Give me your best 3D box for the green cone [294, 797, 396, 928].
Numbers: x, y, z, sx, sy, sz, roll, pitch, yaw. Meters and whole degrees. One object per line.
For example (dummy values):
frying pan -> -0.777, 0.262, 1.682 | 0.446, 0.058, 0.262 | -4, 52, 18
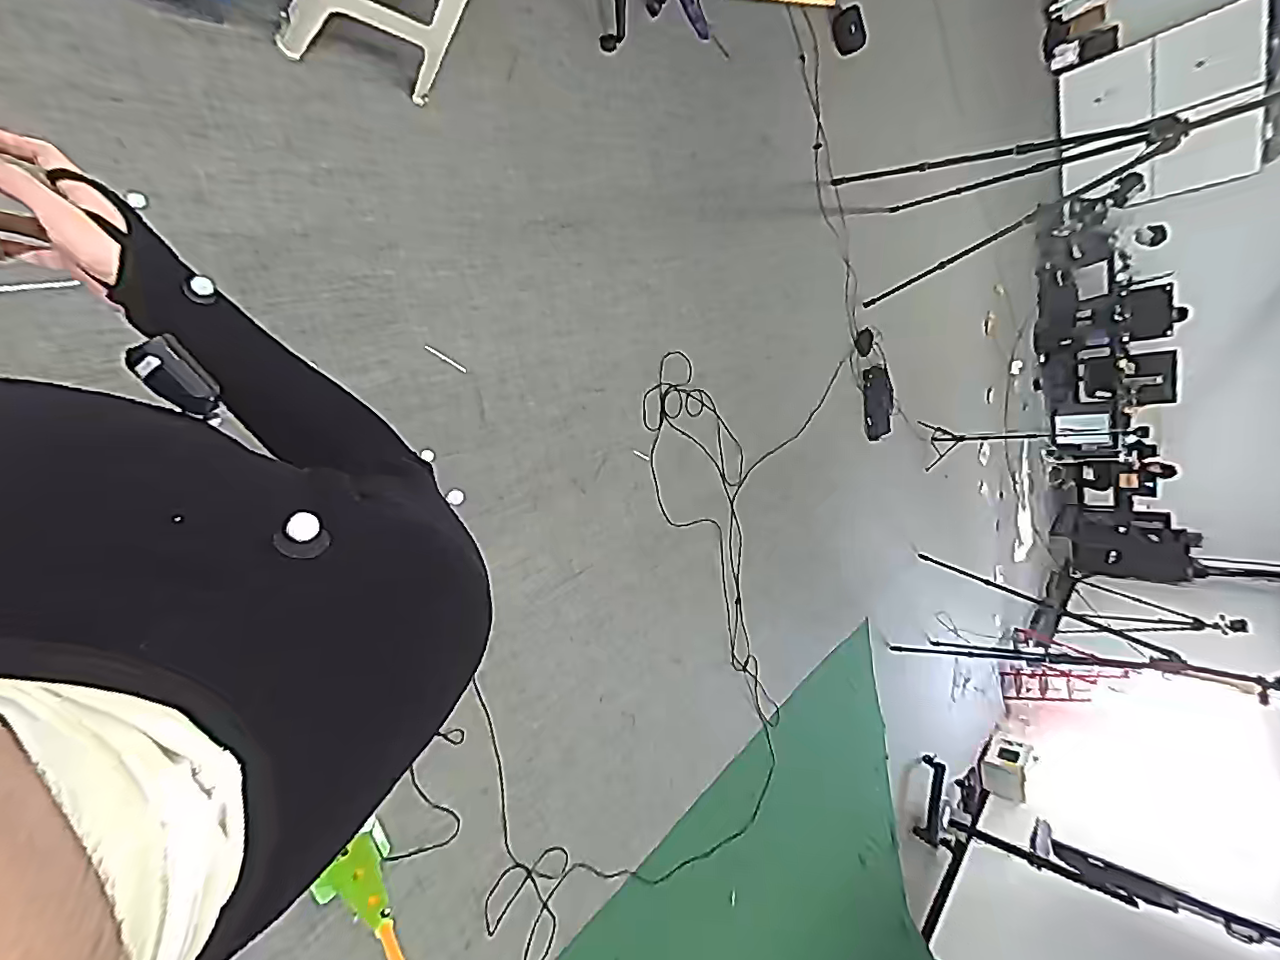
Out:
green cone -> -0.729, 1.048, 1.415 | 0.202, 0.368, 0.200 | -26, 110, -40
